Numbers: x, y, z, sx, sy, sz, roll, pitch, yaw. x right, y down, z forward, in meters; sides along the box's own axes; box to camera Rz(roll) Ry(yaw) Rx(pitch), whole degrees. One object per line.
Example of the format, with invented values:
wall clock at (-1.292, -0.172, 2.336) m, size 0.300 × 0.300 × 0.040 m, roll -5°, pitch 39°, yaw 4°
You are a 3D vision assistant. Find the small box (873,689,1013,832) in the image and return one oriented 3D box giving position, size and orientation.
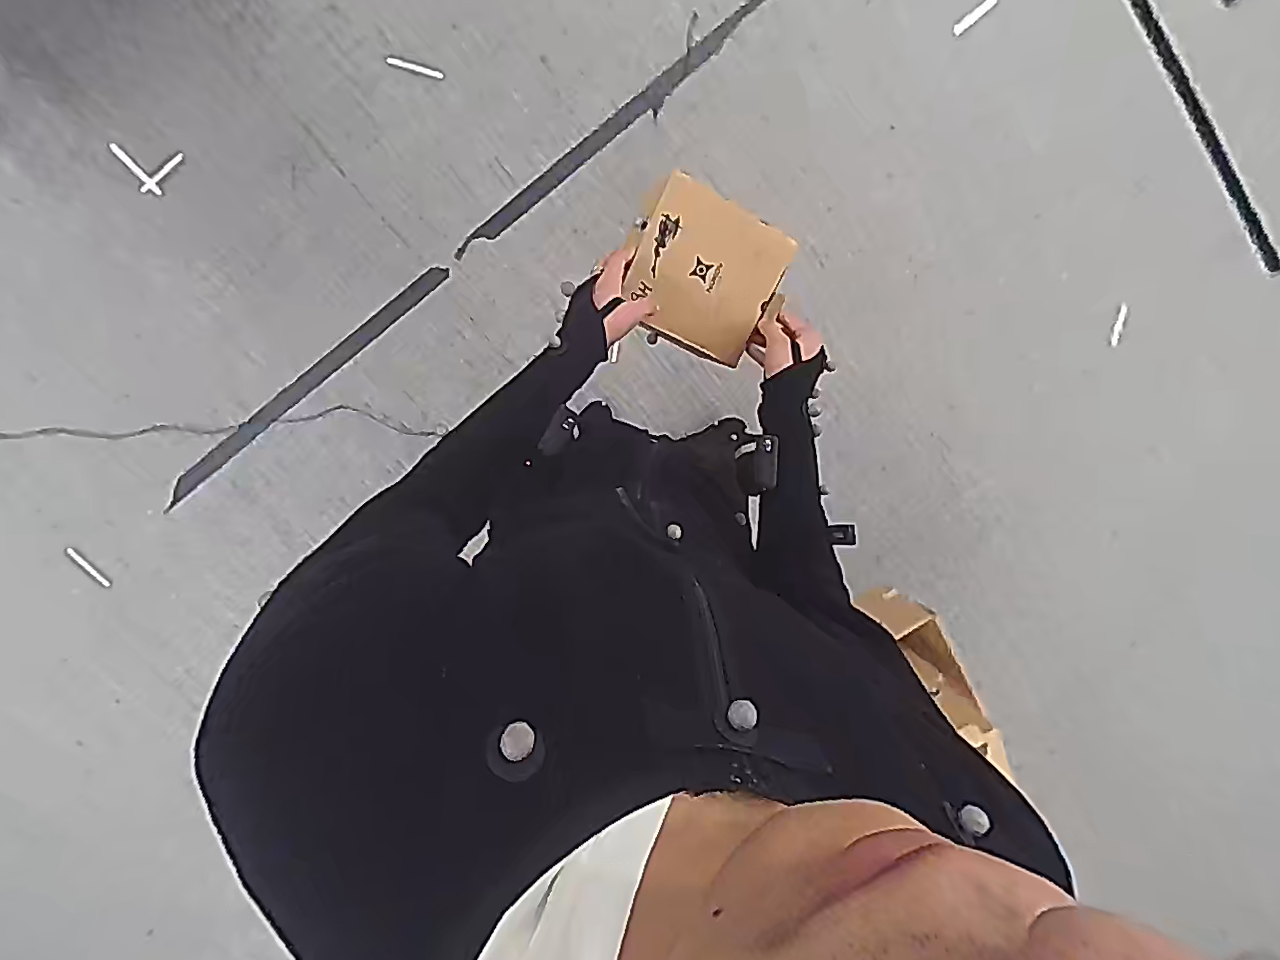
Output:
small box at (0.610, 0.558, 1.108) m, size 0.168 × 0.176 × 0.179 m, roll -24°, pitch 102°, yaw -2°

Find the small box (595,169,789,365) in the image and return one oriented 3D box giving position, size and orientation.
small box at (0.055, -0.271, 0.713) m, size 0.179 × 0.176 × 0.168 m, roll 22°, pitch 103°, yaw -17°
